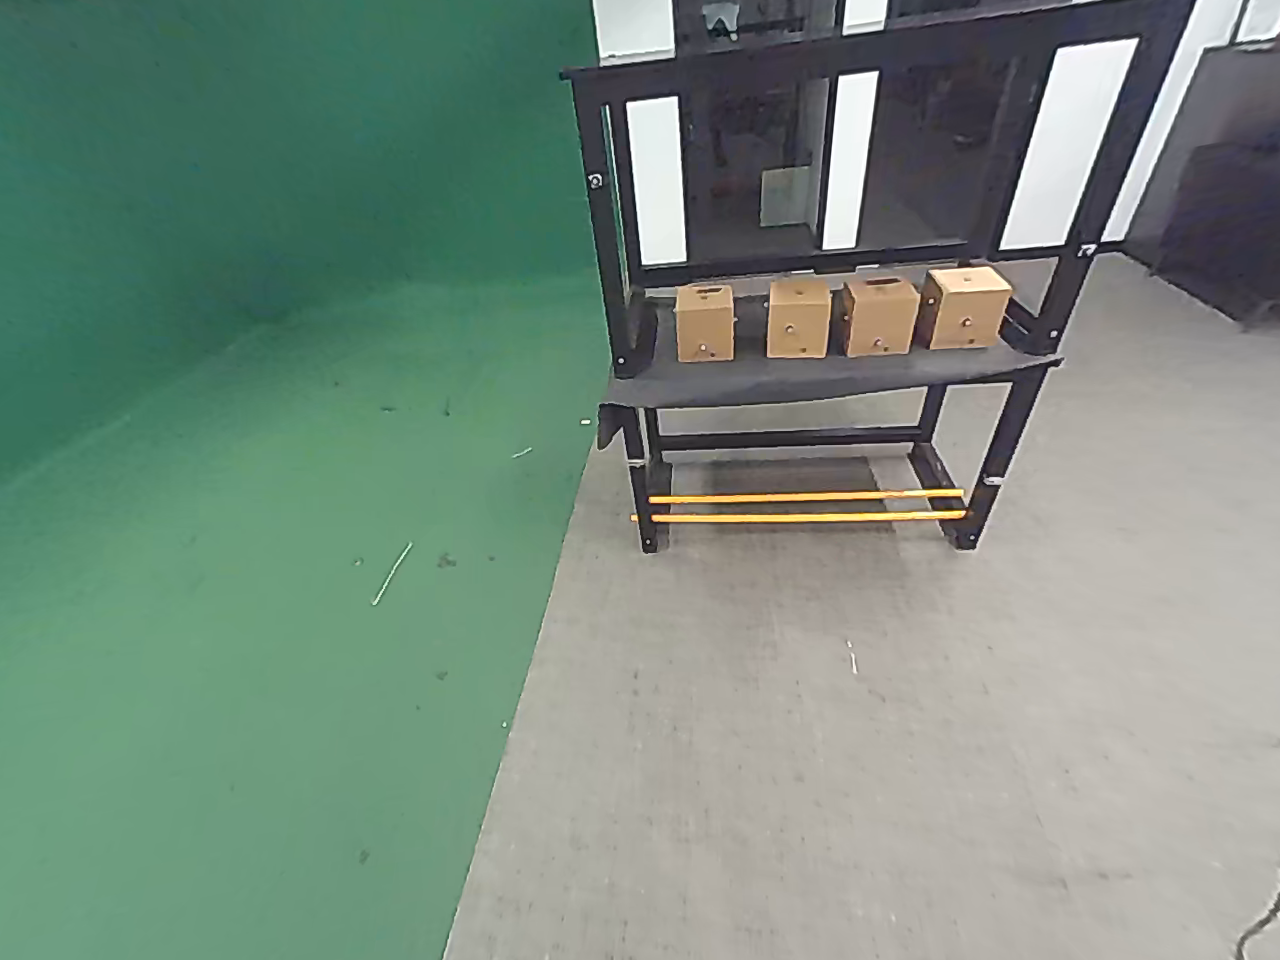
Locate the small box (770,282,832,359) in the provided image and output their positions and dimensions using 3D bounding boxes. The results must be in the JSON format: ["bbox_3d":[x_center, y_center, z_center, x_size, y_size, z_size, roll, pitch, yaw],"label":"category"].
[{"bbox_3d":[0.472,-0.468,1.595,0.168,0.176,0.179,3,40,13],"label":"small box"}]

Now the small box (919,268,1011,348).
[{"bbox_3d":[0.908,-0.481,1.527,0.168,0.176,0.179,1,39,11],"label":"small box"}]

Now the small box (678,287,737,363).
[{"bbox_3d":[0.206,-0.469,1.640,0.168,0.176,0.179,-2,40,8],"label":"small box"}]
